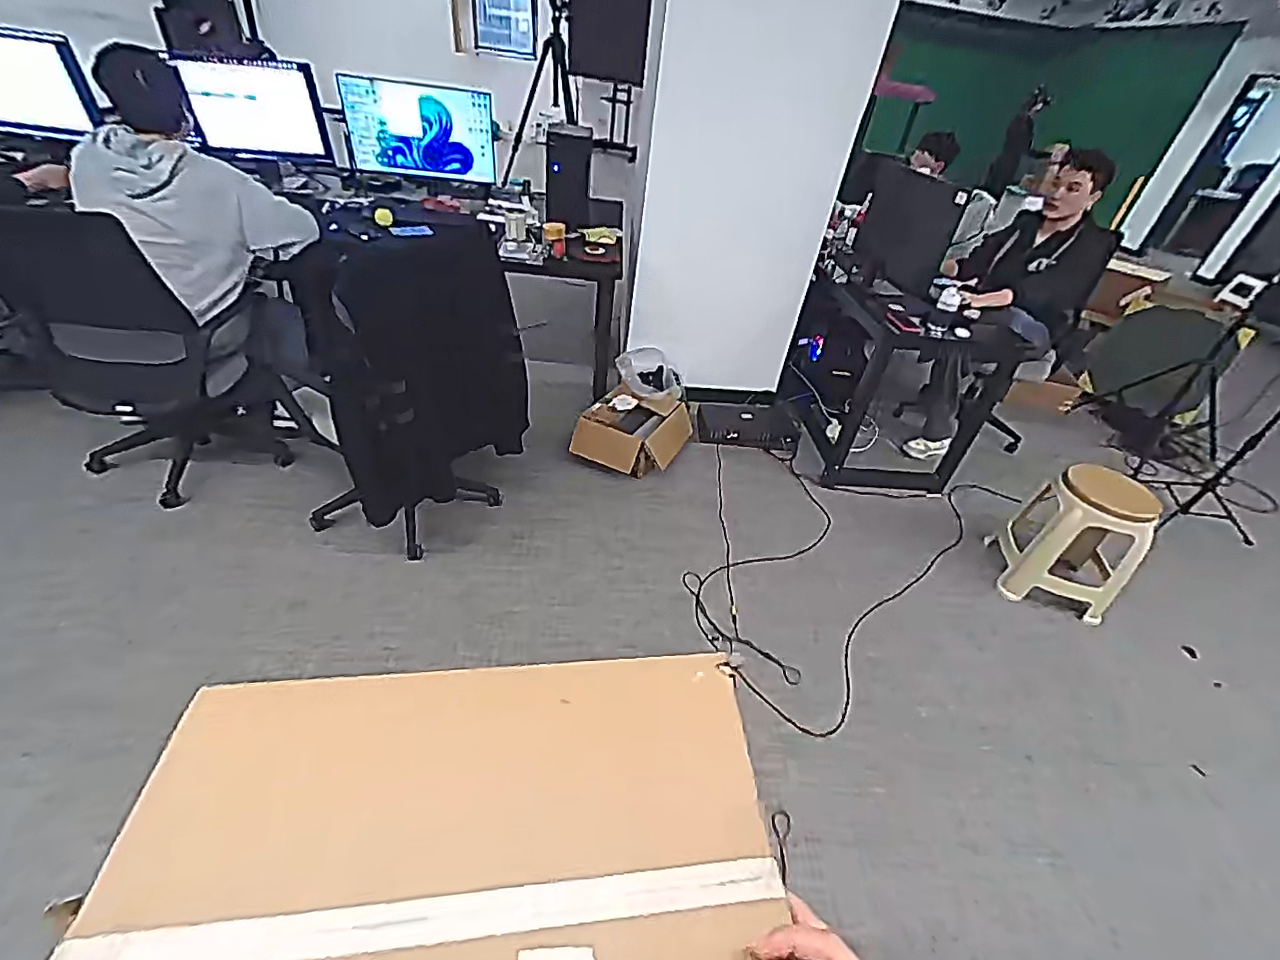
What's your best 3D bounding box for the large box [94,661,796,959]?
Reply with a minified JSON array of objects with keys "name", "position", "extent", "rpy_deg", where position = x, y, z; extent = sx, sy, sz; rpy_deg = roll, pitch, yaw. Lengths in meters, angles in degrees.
[{"name":"large box","position":[-0.120,0.375,0.422],"extent":[0.408,0.320,0.320],"rpy_deg":[-2,43,-8]}]
